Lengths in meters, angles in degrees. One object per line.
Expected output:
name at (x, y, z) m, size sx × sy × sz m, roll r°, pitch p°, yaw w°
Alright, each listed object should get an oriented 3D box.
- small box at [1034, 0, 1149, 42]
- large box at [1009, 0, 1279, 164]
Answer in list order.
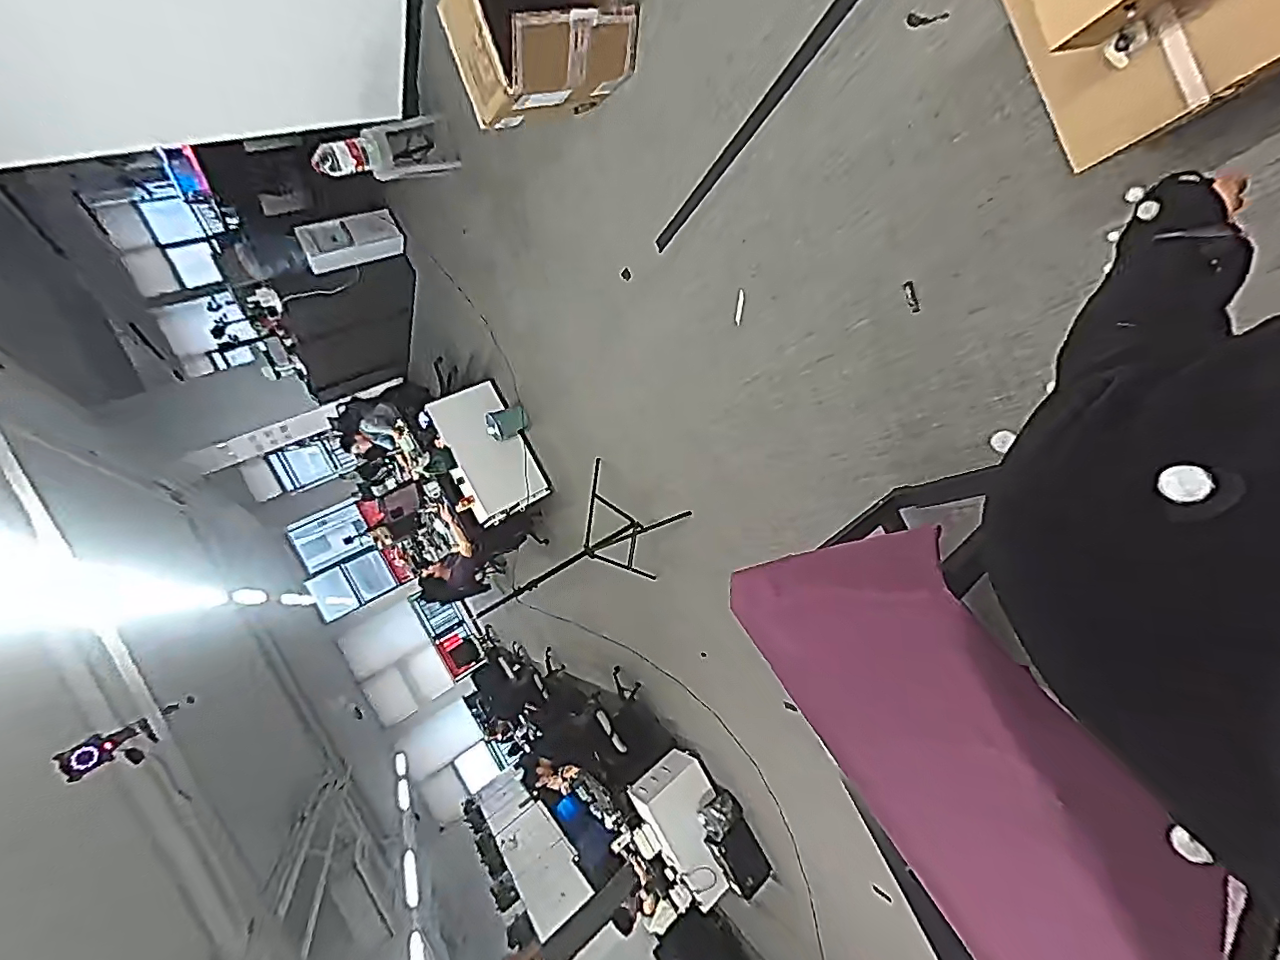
small box at (0.619, -0.700, 0.678) m, size 0.179 × 0.176 × 0.168 m, roll -12°, pitch 106°, yaw 61°
large box at (0.819, -0.778, 0.804) m, size 0.408 × 0.320 × 0.320 m, roll 62°, pitch 154°, yaw -4°
